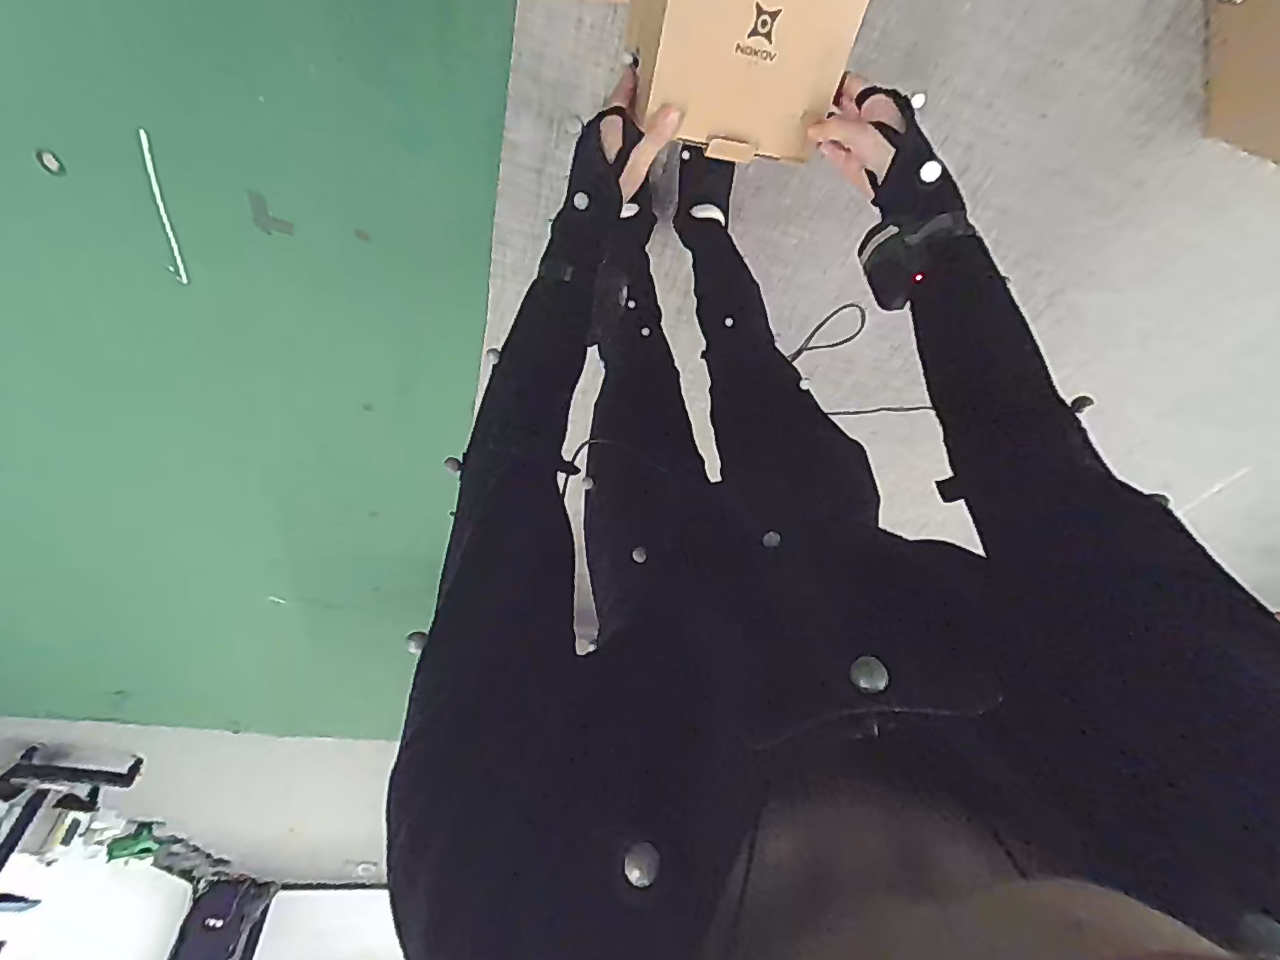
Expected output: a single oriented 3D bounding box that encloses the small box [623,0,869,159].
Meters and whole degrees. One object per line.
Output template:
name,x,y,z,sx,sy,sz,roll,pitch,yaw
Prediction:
small box,0.085,-0.422,0.486,0.168,0.176,0.179,2,133,-15
